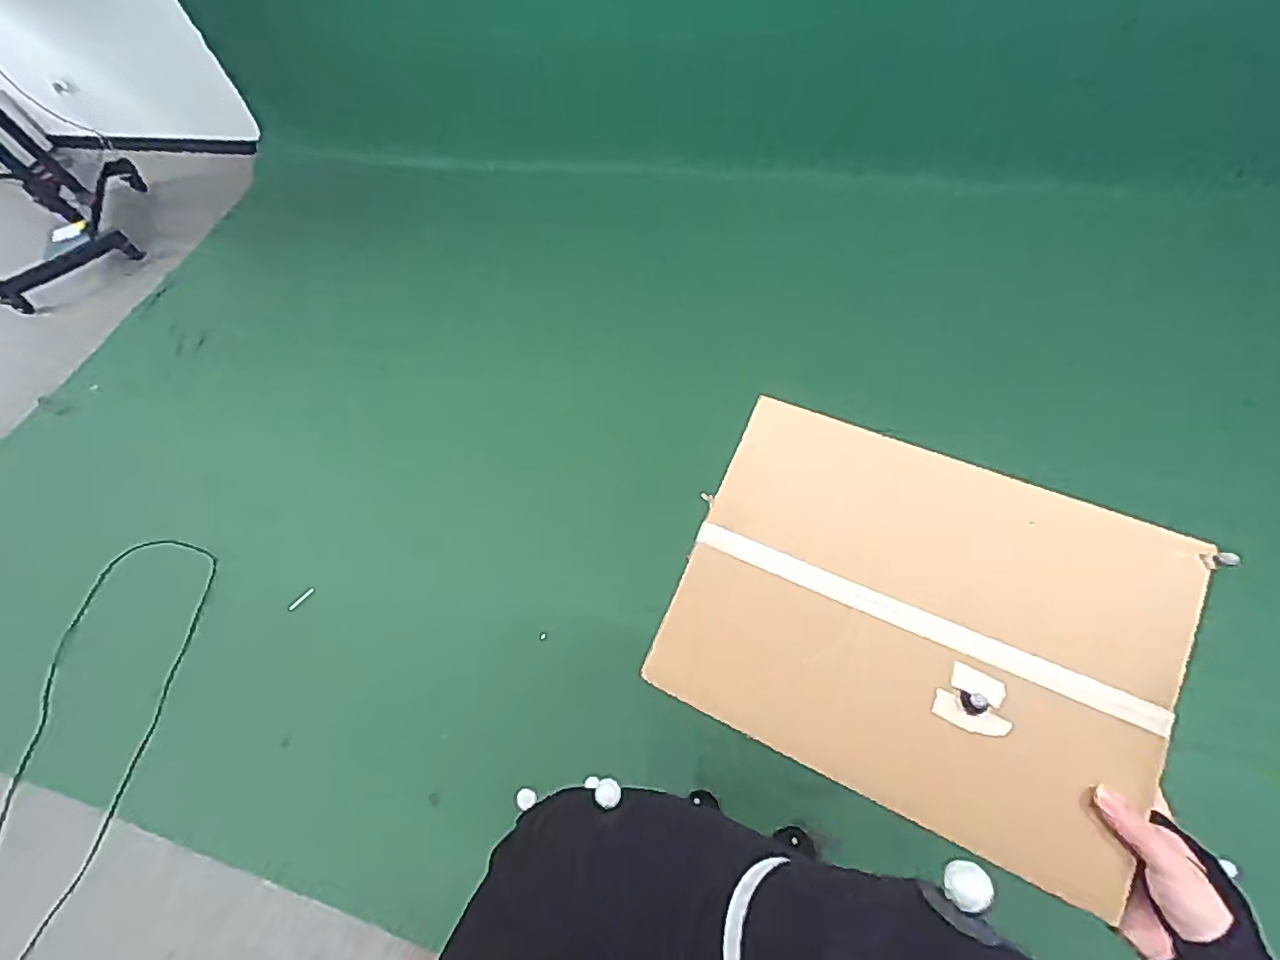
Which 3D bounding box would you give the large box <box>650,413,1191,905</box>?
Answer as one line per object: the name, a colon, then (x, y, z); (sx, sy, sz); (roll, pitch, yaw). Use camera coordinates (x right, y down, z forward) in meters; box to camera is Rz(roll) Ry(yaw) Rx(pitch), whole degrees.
large box: (0.268, 0.167, 0.637); (0.408, 0.320, 0.320); (21, 81, 15)
